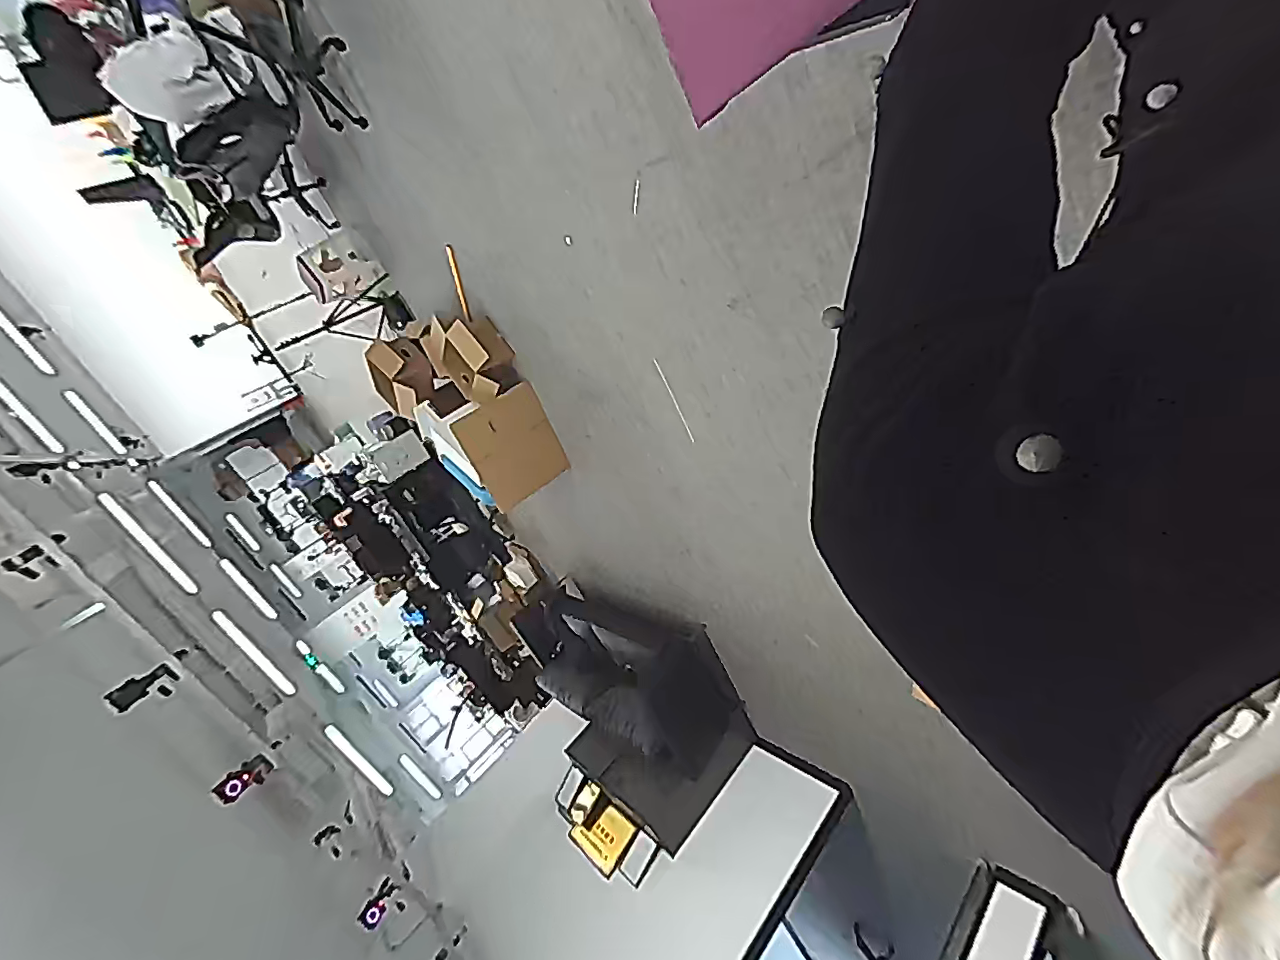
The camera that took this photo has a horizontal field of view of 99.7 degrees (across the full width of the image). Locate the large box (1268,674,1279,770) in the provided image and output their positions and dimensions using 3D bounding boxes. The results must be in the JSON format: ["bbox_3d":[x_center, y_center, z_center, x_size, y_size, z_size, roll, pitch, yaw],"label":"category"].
[{"bbox_3d":[1.786,0.618,1.204,0.320,0.320,0.408,46,150,7],"label":"large box"}]
